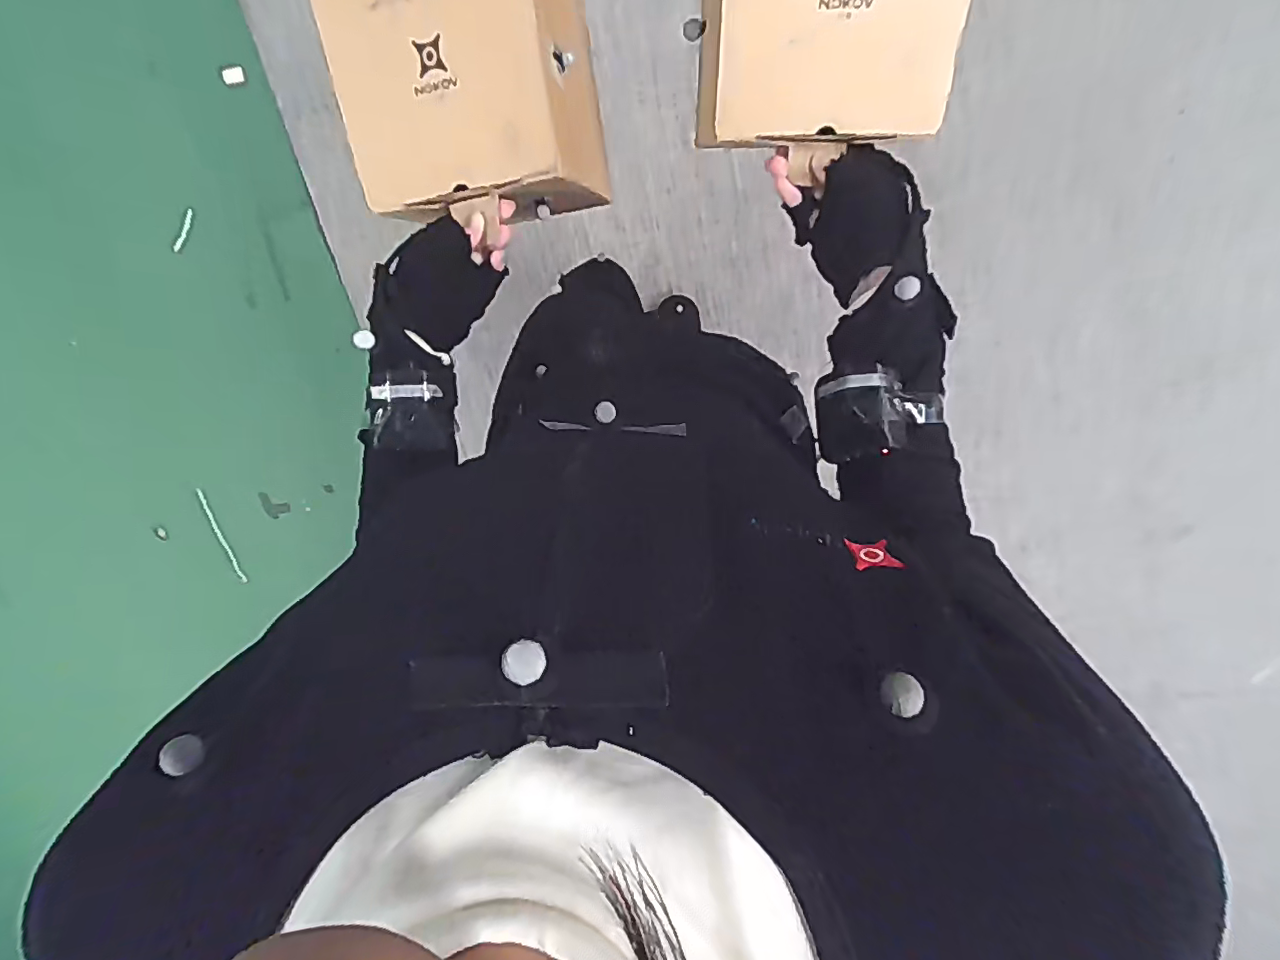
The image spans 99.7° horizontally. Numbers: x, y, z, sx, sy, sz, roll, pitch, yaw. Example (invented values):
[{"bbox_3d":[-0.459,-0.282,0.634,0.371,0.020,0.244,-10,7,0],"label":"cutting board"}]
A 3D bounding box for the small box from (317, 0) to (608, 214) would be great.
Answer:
[{"bbox_3d":[-0.134,-0.339,0.465,0.168,0.176,0.179,-5,108,13],"label":"small box"}]
